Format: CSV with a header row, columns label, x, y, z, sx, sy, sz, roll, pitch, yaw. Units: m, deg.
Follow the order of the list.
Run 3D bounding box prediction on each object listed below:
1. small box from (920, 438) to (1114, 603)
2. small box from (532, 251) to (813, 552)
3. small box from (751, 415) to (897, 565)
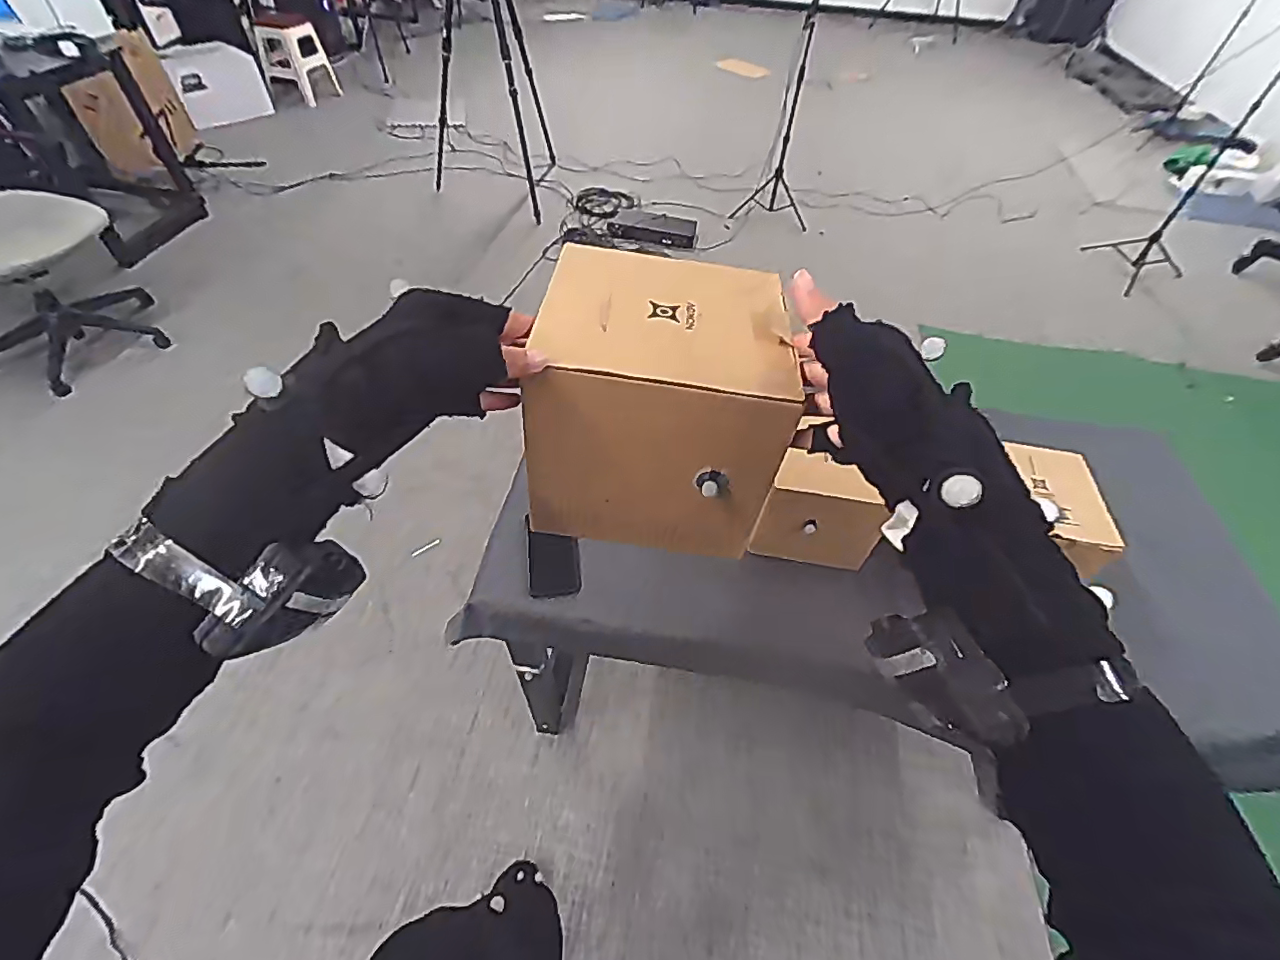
label,x,y,z,sx,sy,sz,roll,pitch,yaw
small box,0.557,0.066,0.830,0.168,0.176,0.179,11,49,5
small box,0.018,-0.058,0.439,0.179,0.176,0.168,6,47,-1
small box,0.276,0.017,0.853,0.179,0.176,0.168,9,50,4
